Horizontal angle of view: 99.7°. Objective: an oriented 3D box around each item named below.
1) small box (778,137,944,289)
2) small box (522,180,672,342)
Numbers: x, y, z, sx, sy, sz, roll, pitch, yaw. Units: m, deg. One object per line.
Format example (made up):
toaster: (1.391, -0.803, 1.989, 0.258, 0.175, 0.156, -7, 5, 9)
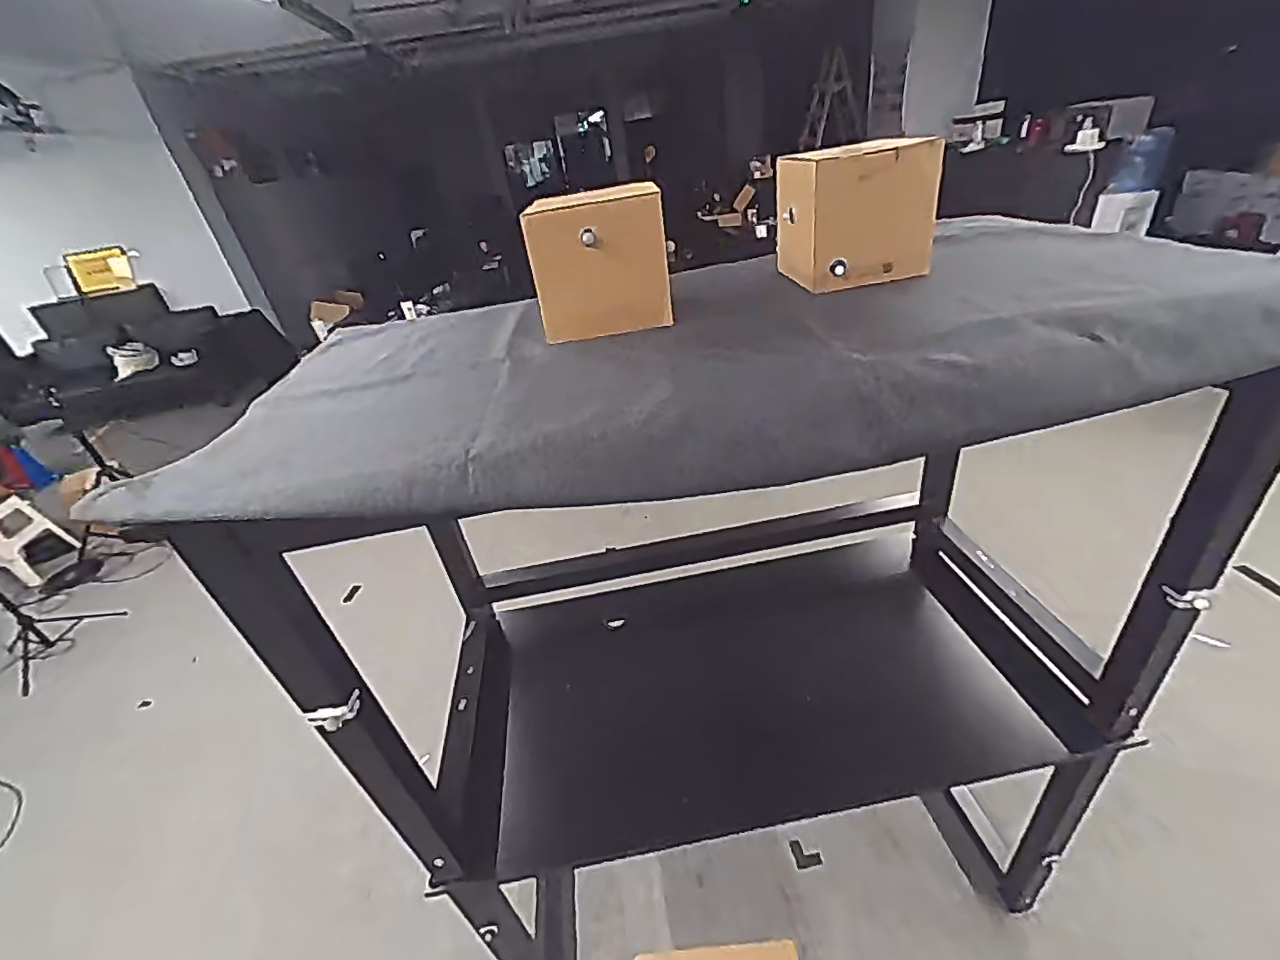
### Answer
small box: (0.308, -0.386, 0.788, 0.168, 0.176, 0.179, -9, 31, 1)
small box: (-0.050, -0.308, 0.761, 0.179, 0.176, 0.168, -8, 32, 3)
